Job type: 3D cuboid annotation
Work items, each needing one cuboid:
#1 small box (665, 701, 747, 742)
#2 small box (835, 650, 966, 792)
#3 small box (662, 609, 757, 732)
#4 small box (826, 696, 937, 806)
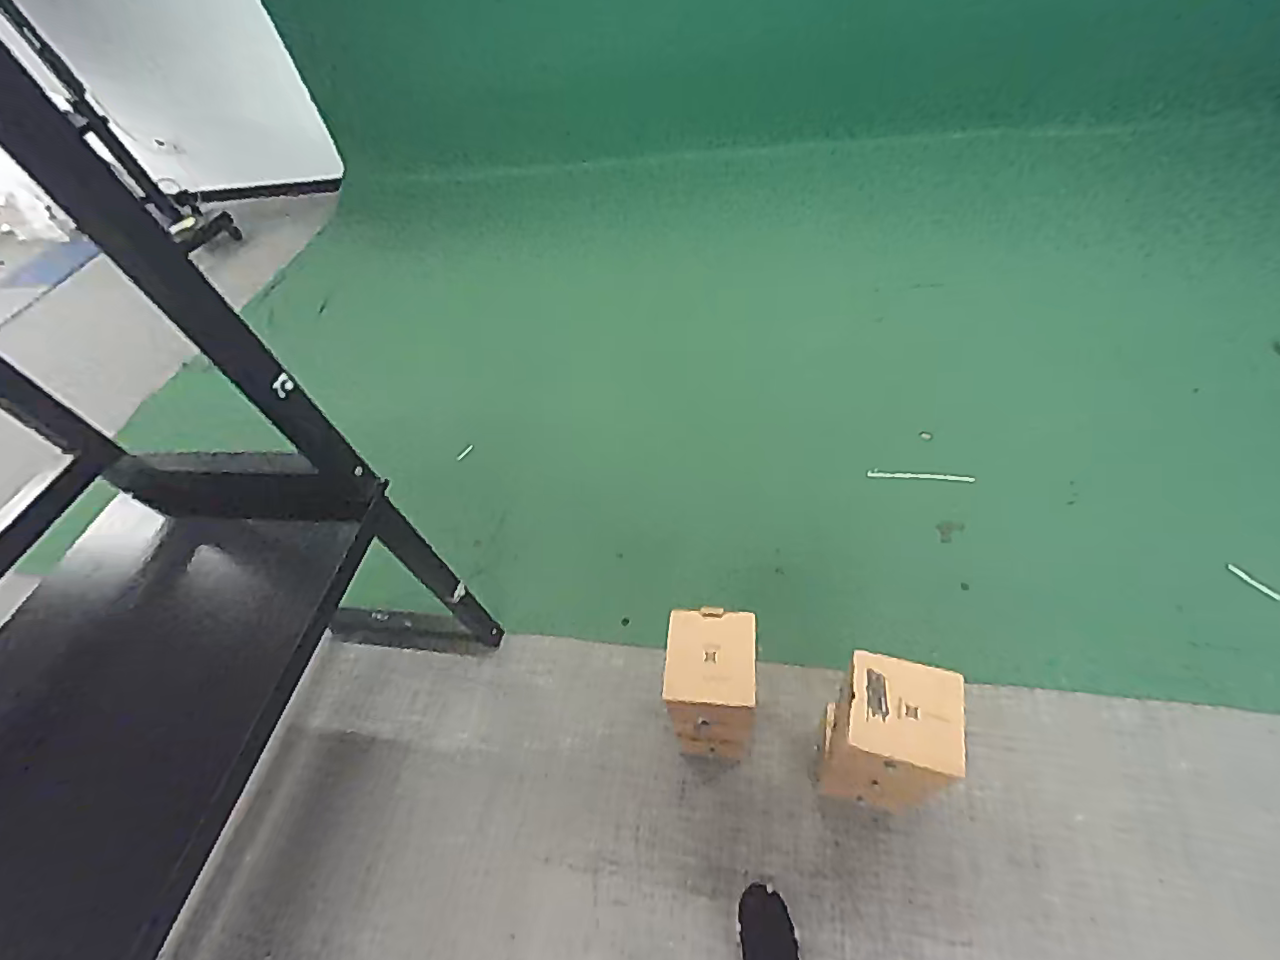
[{"bbox_3d":[0.154,0.457,1.184,0.168,0.176,0.179,2,52,12],"label":"small box"},{"bbox_3d":[0.446,0.424,0.944,0.179,0.176,0.168,10,55,17],"label":"small box"},{"bbox_3d":[0.140,0.369,1.047,0.168,0.176,0.179,-1,52,11],"label":"small box"},{"bbox_3d":[0.476,0.523,1.072,0.179,0.176,0.168,12,56,18],"label":"small box"}]
